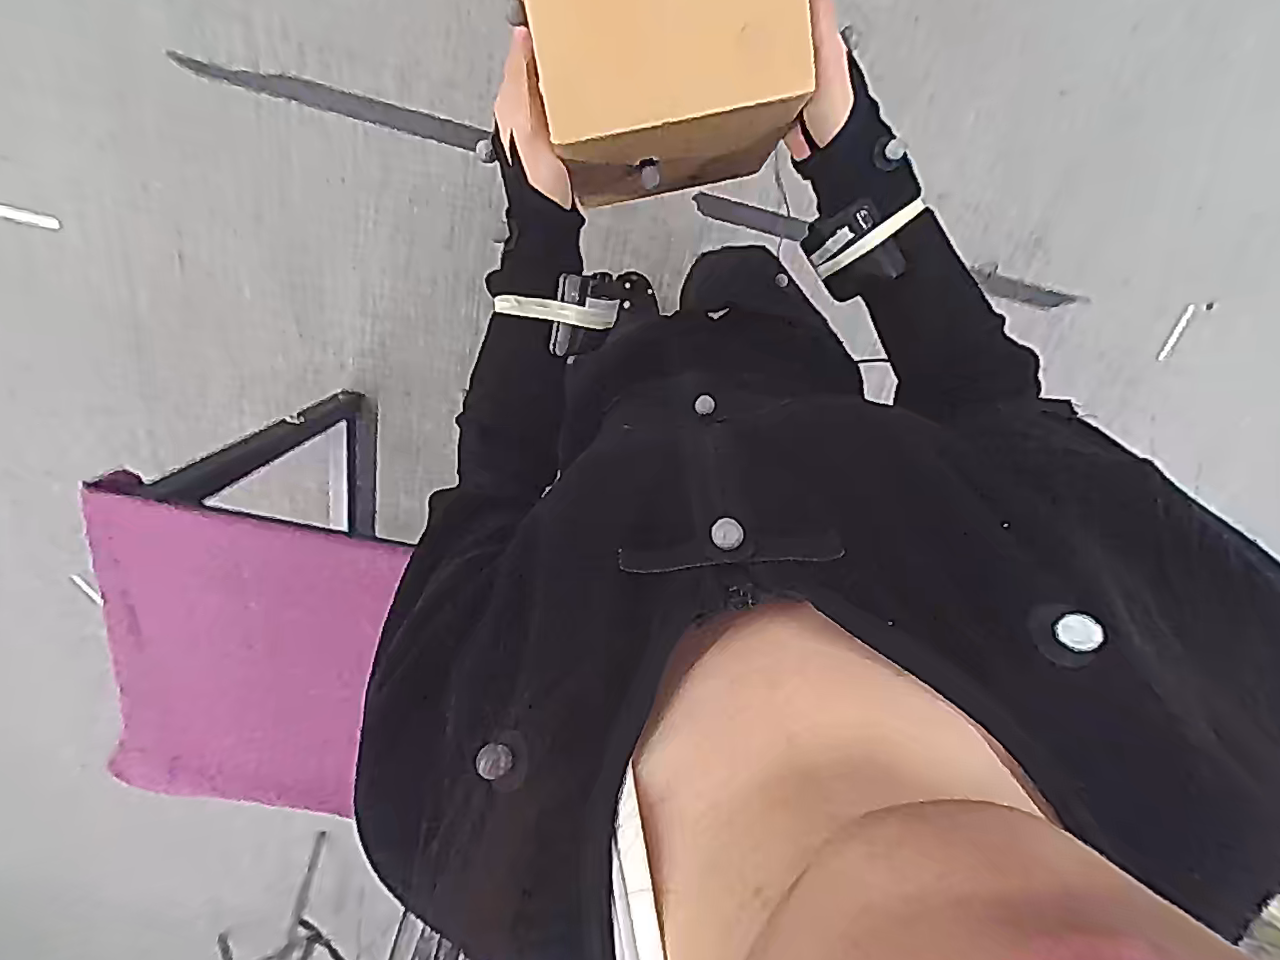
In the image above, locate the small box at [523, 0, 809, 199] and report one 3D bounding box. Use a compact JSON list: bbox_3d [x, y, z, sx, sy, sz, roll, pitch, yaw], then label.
[{"bbox_3d":[0.012,-0.322,0.390,0.168,0.176,0.179,-9,103,3],"label":"small box"}]
